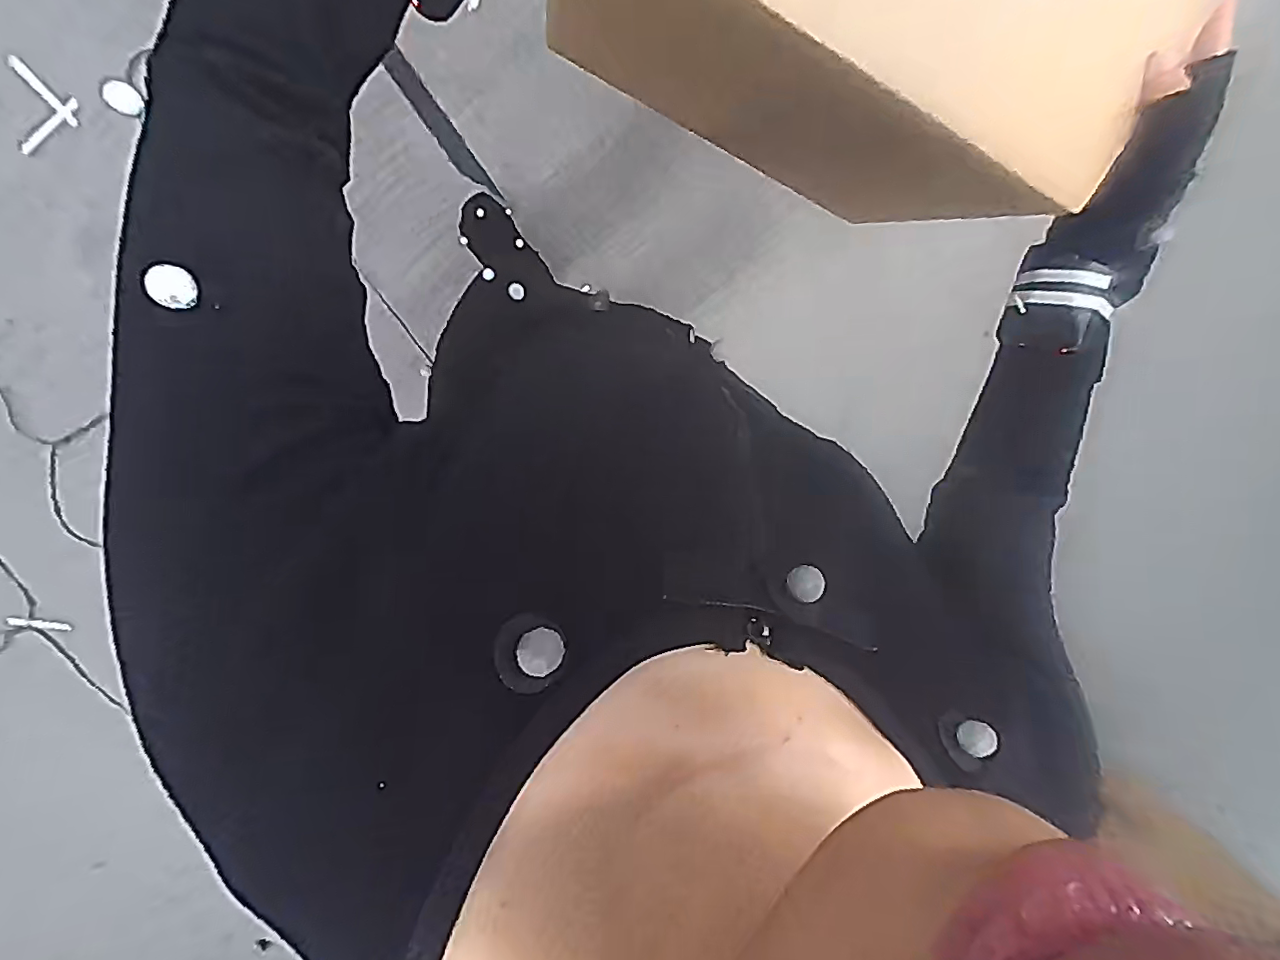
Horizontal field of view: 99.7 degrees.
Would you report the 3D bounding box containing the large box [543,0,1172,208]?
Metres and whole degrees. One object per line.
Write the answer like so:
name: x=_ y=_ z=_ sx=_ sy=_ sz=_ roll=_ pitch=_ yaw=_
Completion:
large box: x=0.160 y=-0.462 z=0.432 sx=0.408 sy=0.320 sz=0.320 roll=17 pitch=110 yaw=-18
